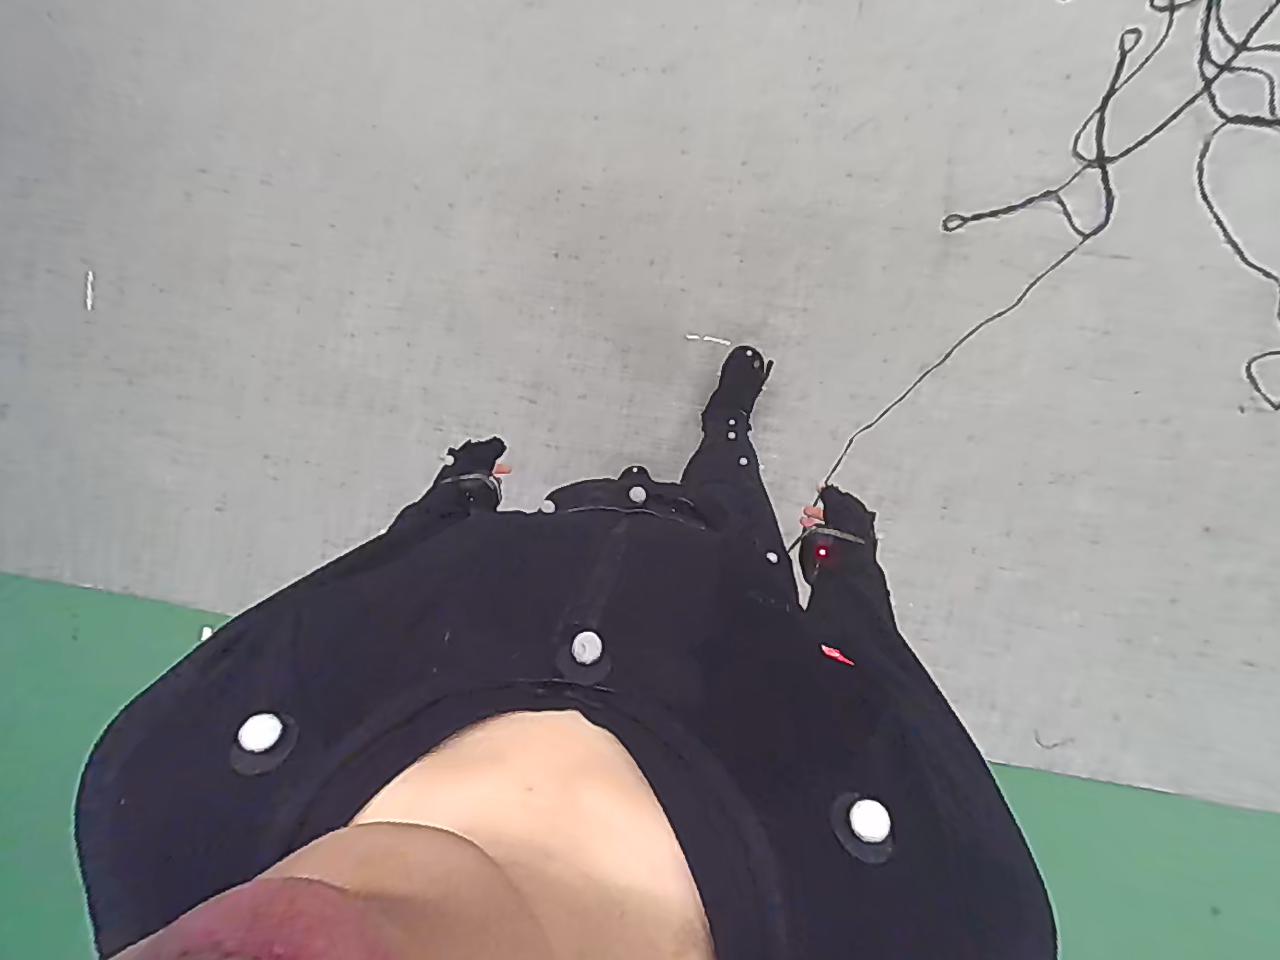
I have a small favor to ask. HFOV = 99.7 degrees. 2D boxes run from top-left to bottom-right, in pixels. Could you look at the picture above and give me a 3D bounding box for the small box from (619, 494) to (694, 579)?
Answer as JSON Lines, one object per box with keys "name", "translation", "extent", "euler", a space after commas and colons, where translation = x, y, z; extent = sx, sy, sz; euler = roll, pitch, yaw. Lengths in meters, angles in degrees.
{"name": "small box", "translation": [0.037, 0.144, 1.423], "extent": [0.168, 0.176, 0.179], "euler": [6, 98, -8]}
